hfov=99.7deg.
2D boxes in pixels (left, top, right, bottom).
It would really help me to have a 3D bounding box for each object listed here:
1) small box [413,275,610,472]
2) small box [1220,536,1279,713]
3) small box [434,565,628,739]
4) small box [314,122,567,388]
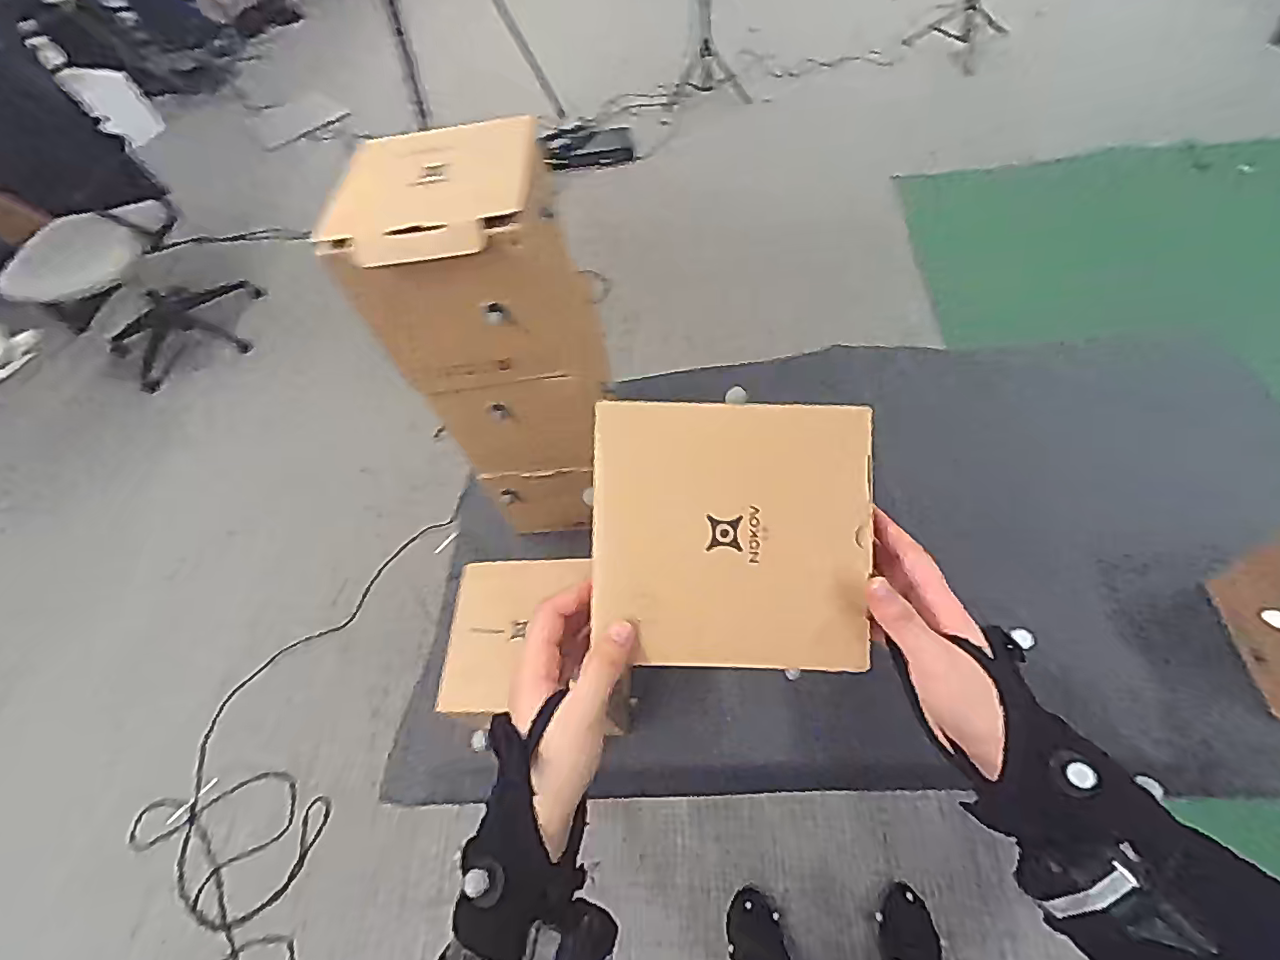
[{"bbox_3d":[-0.140,-0.121,0.660,0.179,0.176,0.168,-4,59,6],"label":"small box"},{"bbox_3d":[0.756,0.145,0.541,0.179,0.176,0.168,1,54,11],"label":"small box"},{"bbox_3d":[-0.112,0.209,0.646,0.179,0.176,0.168,-3,58,8],"label":"small box"},{"bbox_3d":[-0.169,-0.205,0.525,0.168,0.176,0.179,-6,57,3],"label":"small box"}]
